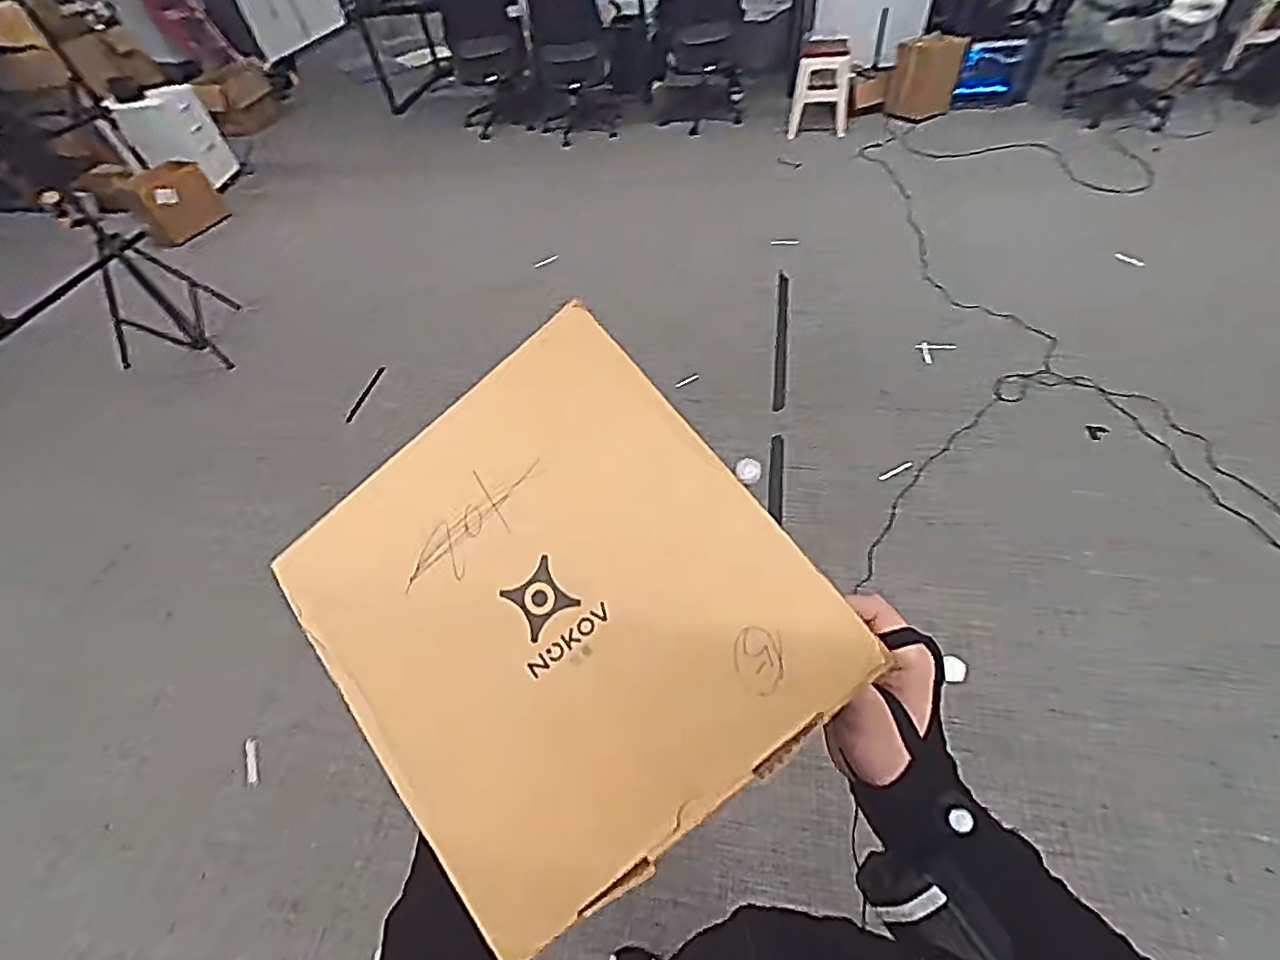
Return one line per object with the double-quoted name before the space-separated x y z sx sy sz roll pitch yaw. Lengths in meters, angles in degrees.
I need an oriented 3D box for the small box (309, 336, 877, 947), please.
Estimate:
"small box" -0.015 0.066 0.286 0.168 0.176 0.179 -40 74 1
